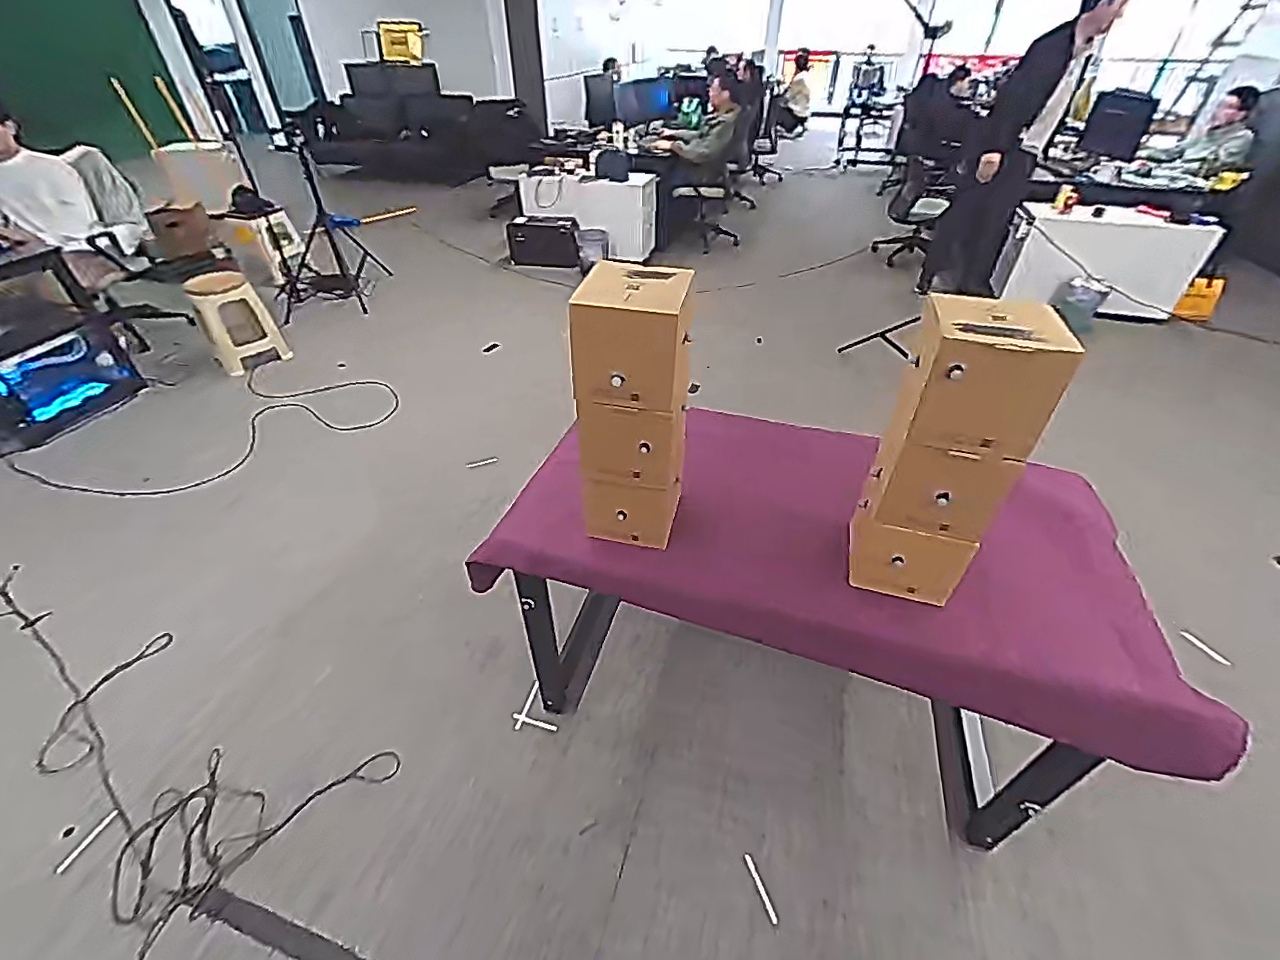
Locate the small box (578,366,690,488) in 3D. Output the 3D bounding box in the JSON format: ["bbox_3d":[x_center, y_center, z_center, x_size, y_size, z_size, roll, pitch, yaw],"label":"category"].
[{"bbox_3d":[-0.006,-0.105,0.989,0.168,0.176,0.179,9,39,8],"label":"small box"}]

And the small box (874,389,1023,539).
[{"bbox_3d":[0.499,-0.027,0.902,0.168,0.176,0.179,12,41,14],"label":"small box"}]

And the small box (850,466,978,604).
[{"bbox_3d":[0.497,0.102,1.004,0.168,0.176,0.179,11,41,13],"label":"small box"}]

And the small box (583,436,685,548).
[{"bbox_3d":[-0.007,0.014,1.099,0.168,0.176,0.179,9,40,10],"label":"small box"}]

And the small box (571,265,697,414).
[{"bbox_3d":[-0.006,-0.231,0.883,0.168,0.176,0.179,9,42,9],"label":"small box"}]
